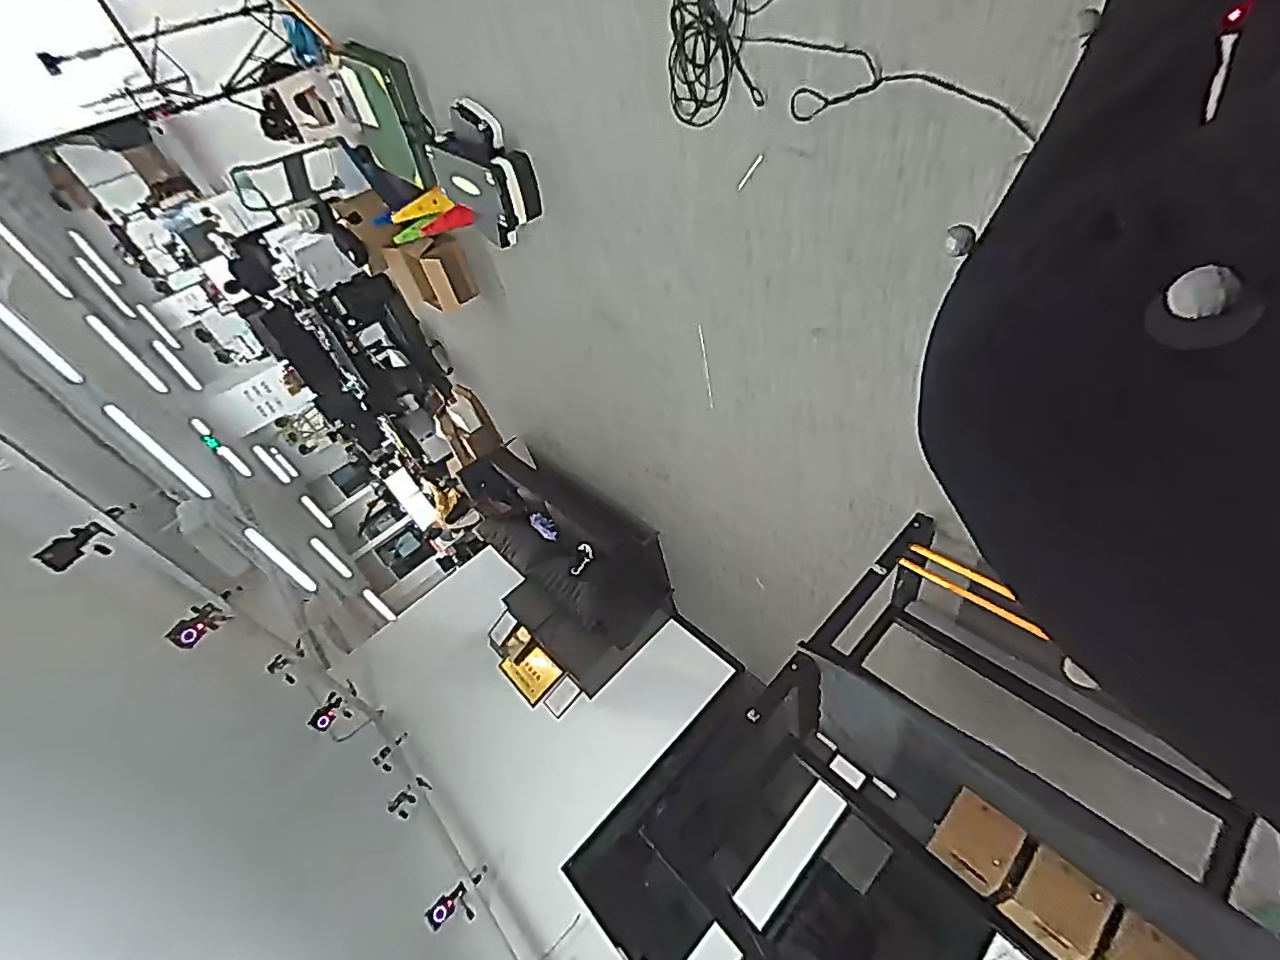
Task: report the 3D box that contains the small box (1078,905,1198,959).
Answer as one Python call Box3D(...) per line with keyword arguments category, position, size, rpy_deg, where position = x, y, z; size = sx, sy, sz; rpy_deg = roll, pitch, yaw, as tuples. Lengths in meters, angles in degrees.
Box3D(category="small box", position=(1.183, 1.151, 1.277), size=(0.168, 0.176, 0.179), rpy_deg=(34, 153, 37))
